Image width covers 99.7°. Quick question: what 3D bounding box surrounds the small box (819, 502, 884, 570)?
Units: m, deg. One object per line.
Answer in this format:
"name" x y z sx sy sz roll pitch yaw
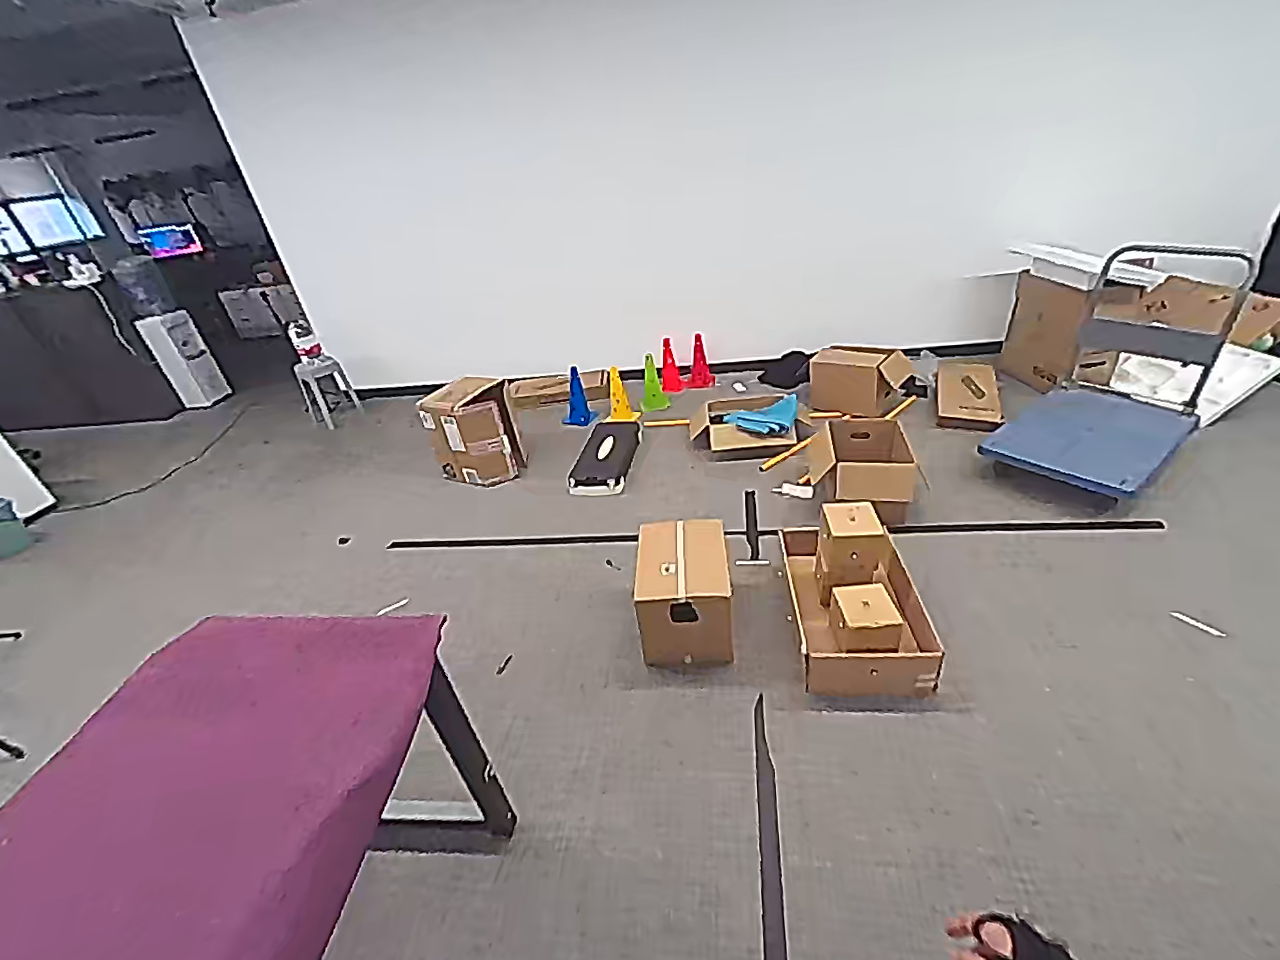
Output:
"small box" 0.720 0.197 1.856 0.168 0.176 0.179 -2 34 7

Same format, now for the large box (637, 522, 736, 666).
"large box" 0.165 0.399 1.936 0.320 0.320 0.408 -5 33 6
